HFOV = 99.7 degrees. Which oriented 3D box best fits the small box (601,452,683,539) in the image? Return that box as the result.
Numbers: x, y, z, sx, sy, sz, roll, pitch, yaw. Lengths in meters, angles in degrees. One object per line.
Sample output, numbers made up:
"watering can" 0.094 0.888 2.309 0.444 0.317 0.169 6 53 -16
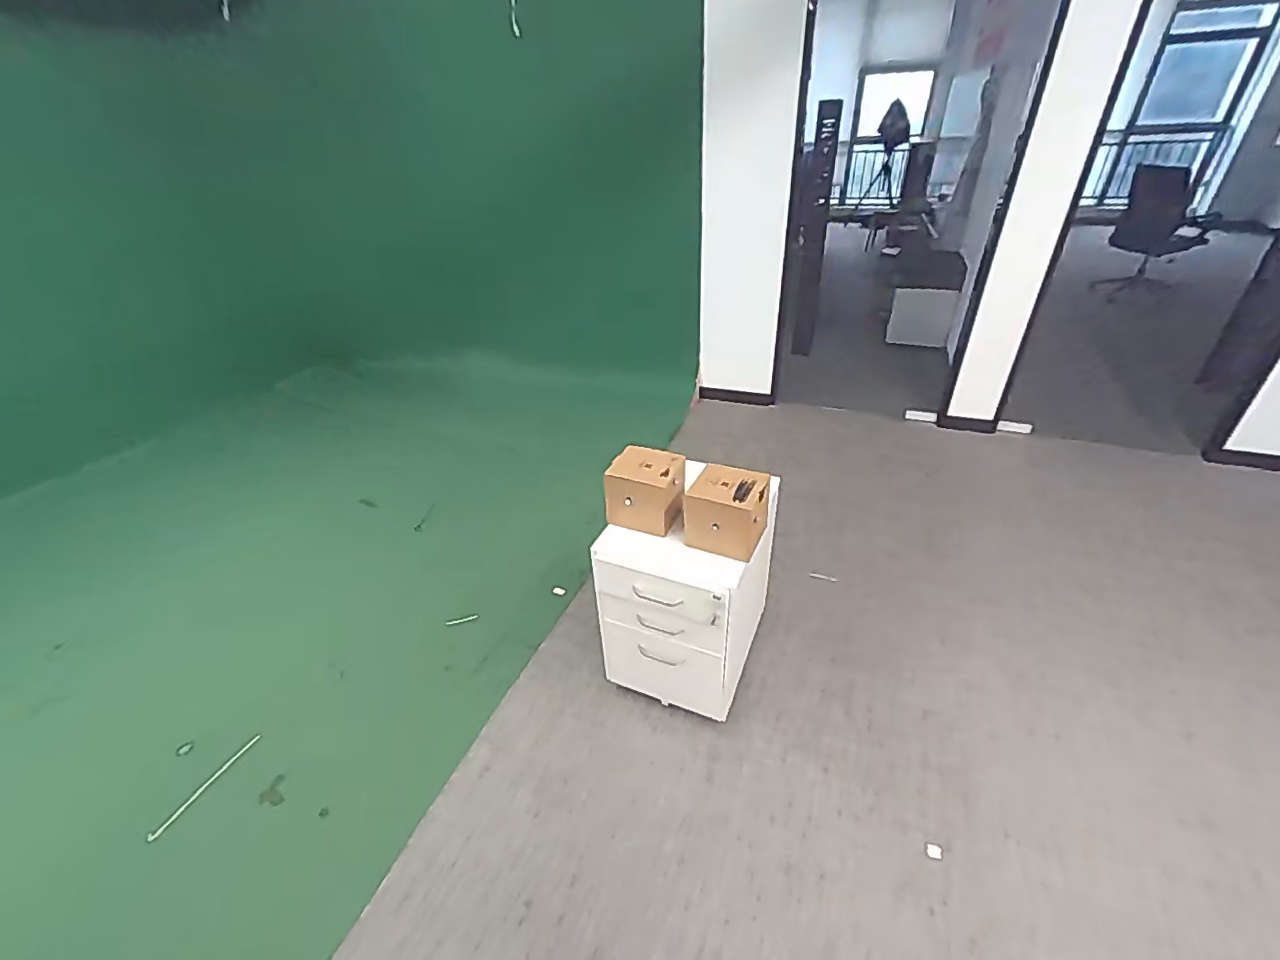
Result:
"small box" 0.010 0.043 1.500 0.179 0.176 0.168 12 36 20
